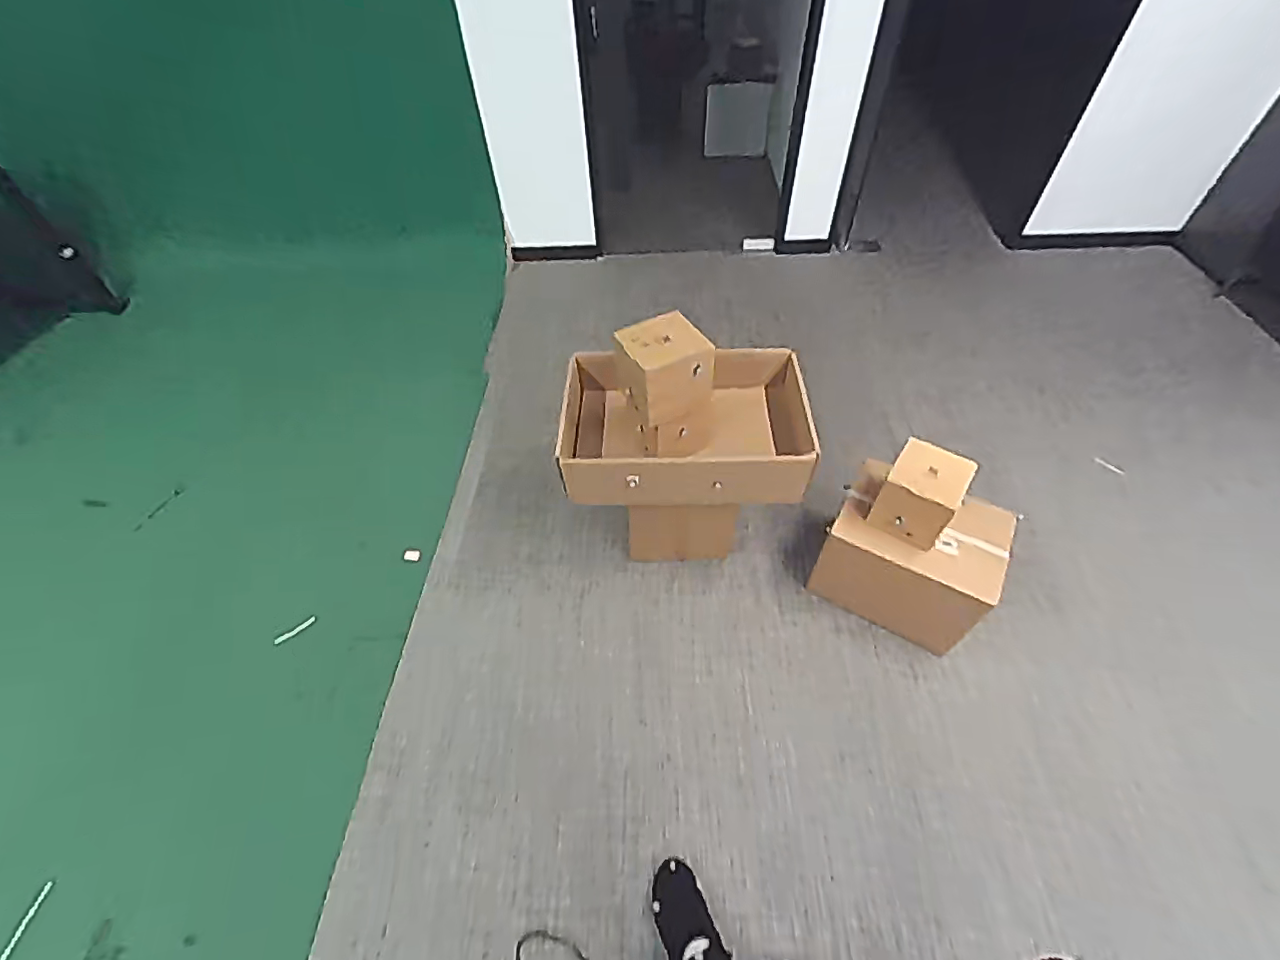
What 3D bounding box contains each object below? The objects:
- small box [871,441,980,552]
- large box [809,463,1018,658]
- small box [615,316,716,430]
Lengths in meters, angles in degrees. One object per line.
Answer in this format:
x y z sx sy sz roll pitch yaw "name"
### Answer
0.700 0.042 1.341 0.168 0.176 0.179 28 56 23 "small box"
0.741 0.220 1.508 0.408 0.320 0.320 25 56 20 "large box"
0.056 -0.248 1.263 0.179 0.176 0.168 -24 52 -15 "small box"
